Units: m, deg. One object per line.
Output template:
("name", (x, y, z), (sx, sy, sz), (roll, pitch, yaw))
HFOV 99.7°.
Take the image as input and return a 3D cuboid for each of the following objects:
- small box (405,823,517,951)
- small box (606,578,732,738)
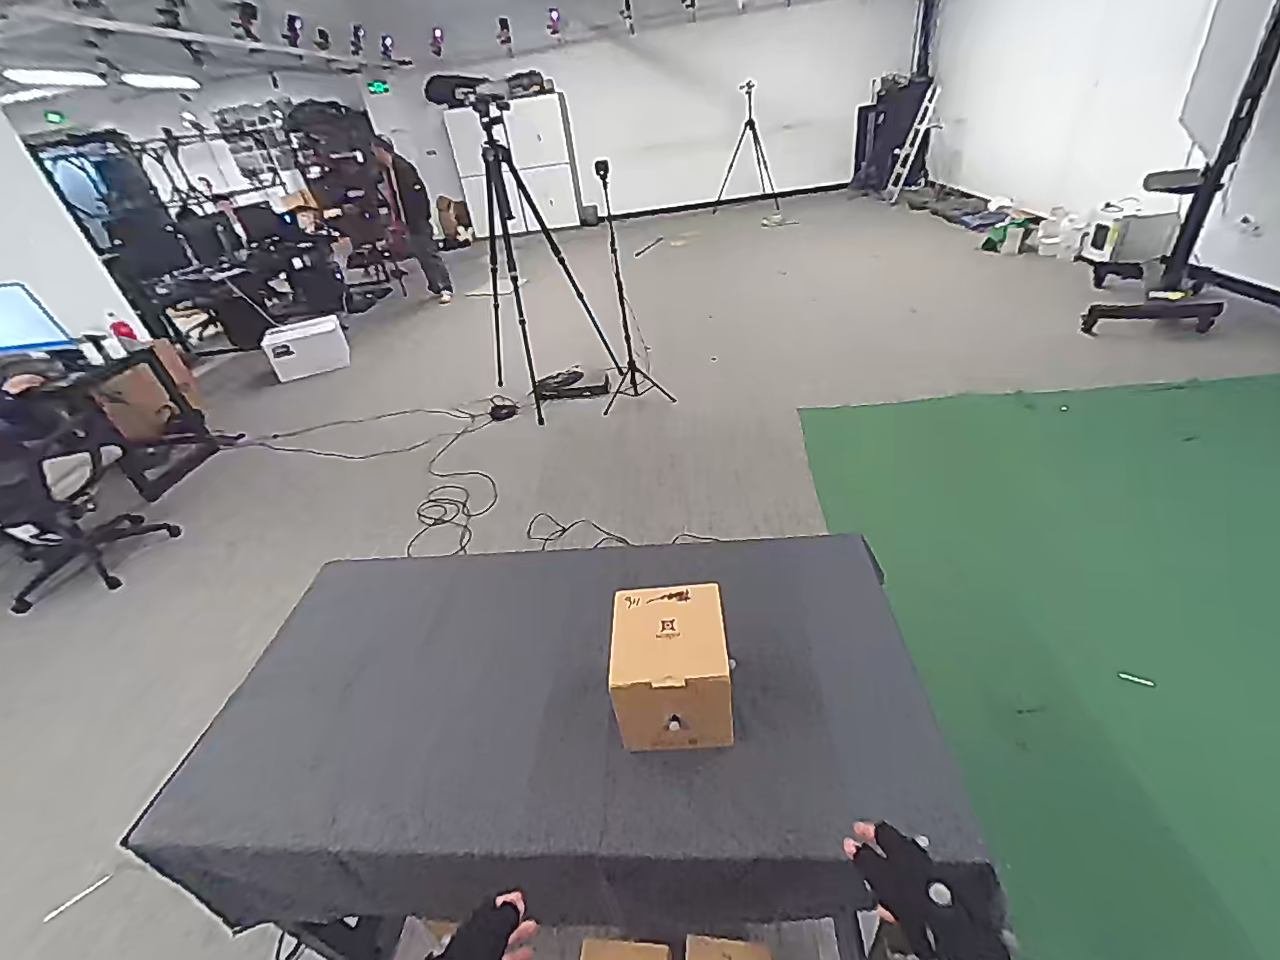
("small box", (-0.401, 0.938, 1.250), (0.168, 0.176, 0.179), (0, 35, 14))
("small box", (0.048, 0.275, 0.826), (0.168, 0.176, 0.179), (-5, 35, 5))
